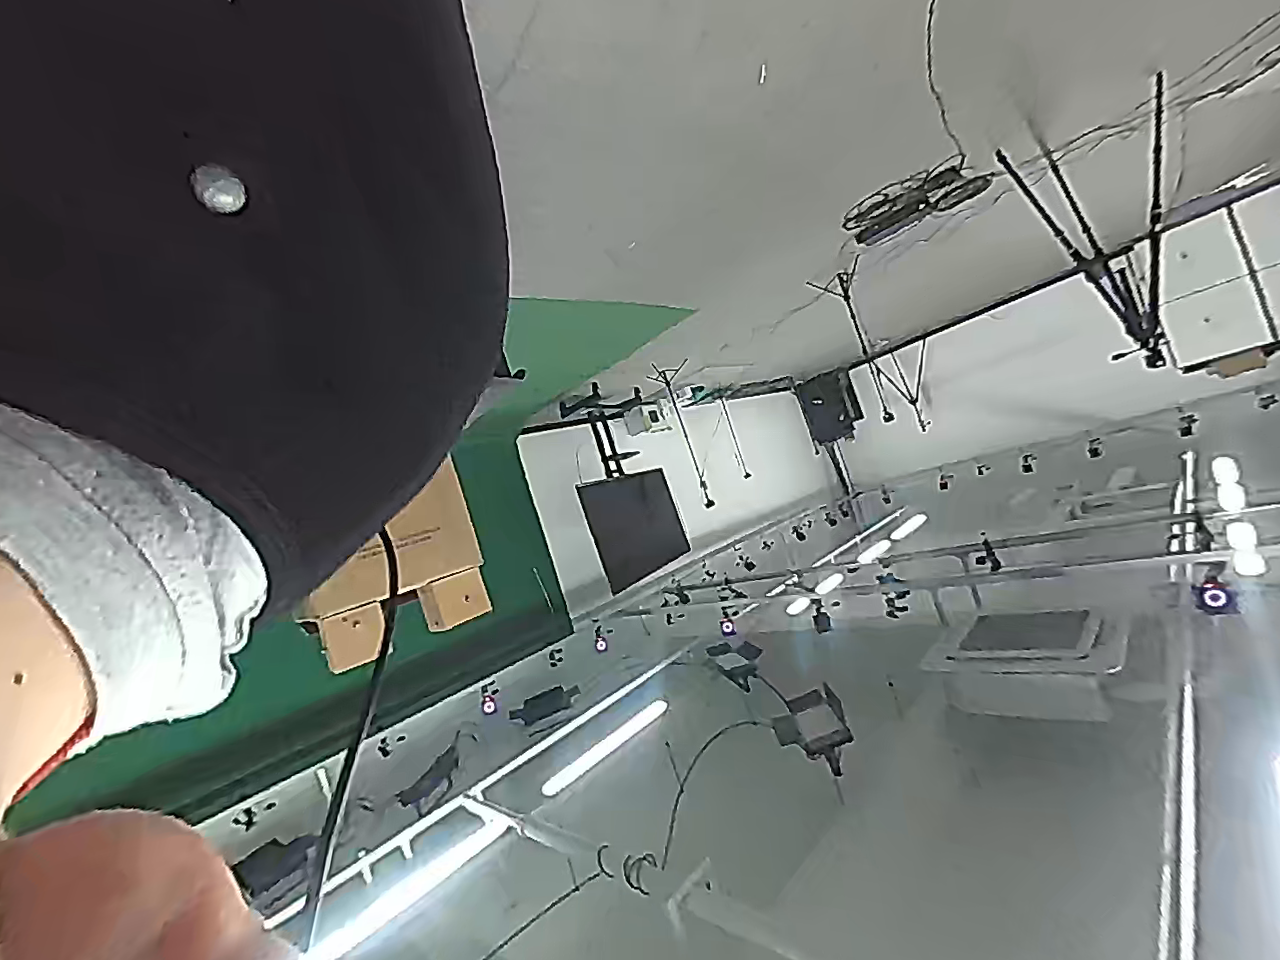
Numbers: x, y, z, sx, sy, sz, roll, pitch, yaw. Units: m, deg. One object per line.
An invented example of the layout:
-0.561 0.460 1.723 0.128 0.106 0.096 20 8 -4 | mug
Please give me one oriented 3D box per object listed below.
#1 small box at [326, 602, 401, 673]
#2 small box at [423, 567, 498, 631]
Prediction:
-0.880 0.493 1.711 0.168 0.176 0.179 -16 176 -36 | small box
-0.638 0.419 1.918 0.179 0.176 0.168 -20 178 -41 | small box
